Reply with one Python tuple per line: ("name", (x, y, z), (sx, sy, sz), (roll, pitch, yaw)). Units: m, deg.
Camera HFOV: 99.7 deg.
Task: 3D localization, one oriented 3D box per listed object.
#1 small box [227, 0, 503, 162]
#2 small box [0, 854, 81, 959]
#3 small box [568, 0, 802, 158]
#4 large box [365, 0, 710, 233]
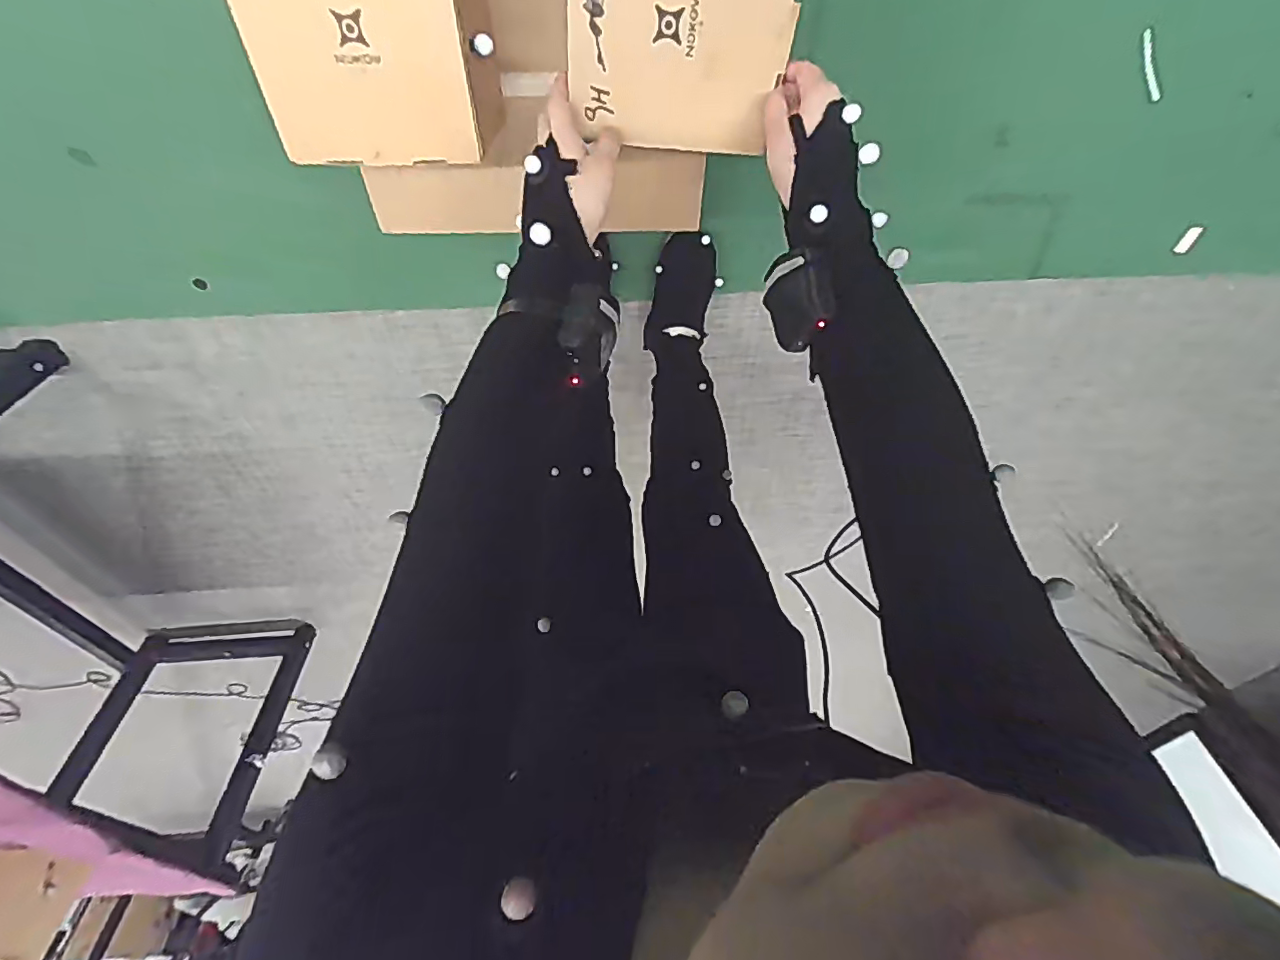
("small box", (-0.221, -0.392, 0.464), (0.168, 0.176, 0.179), (-2, 134, -2))
("small box", (-1.248, 0.825, 1.021), (0.179, 0.176, 0.168), (-2, 135, 1))
("small box", (0.028, -0.400, 0.468), (0.179, 0.176, 0.168), (2, 134, -5))
("large box", (-0.126, -0.530, 0.676), (0.408, 0.320, 0.320), (-2, 135, -2))
